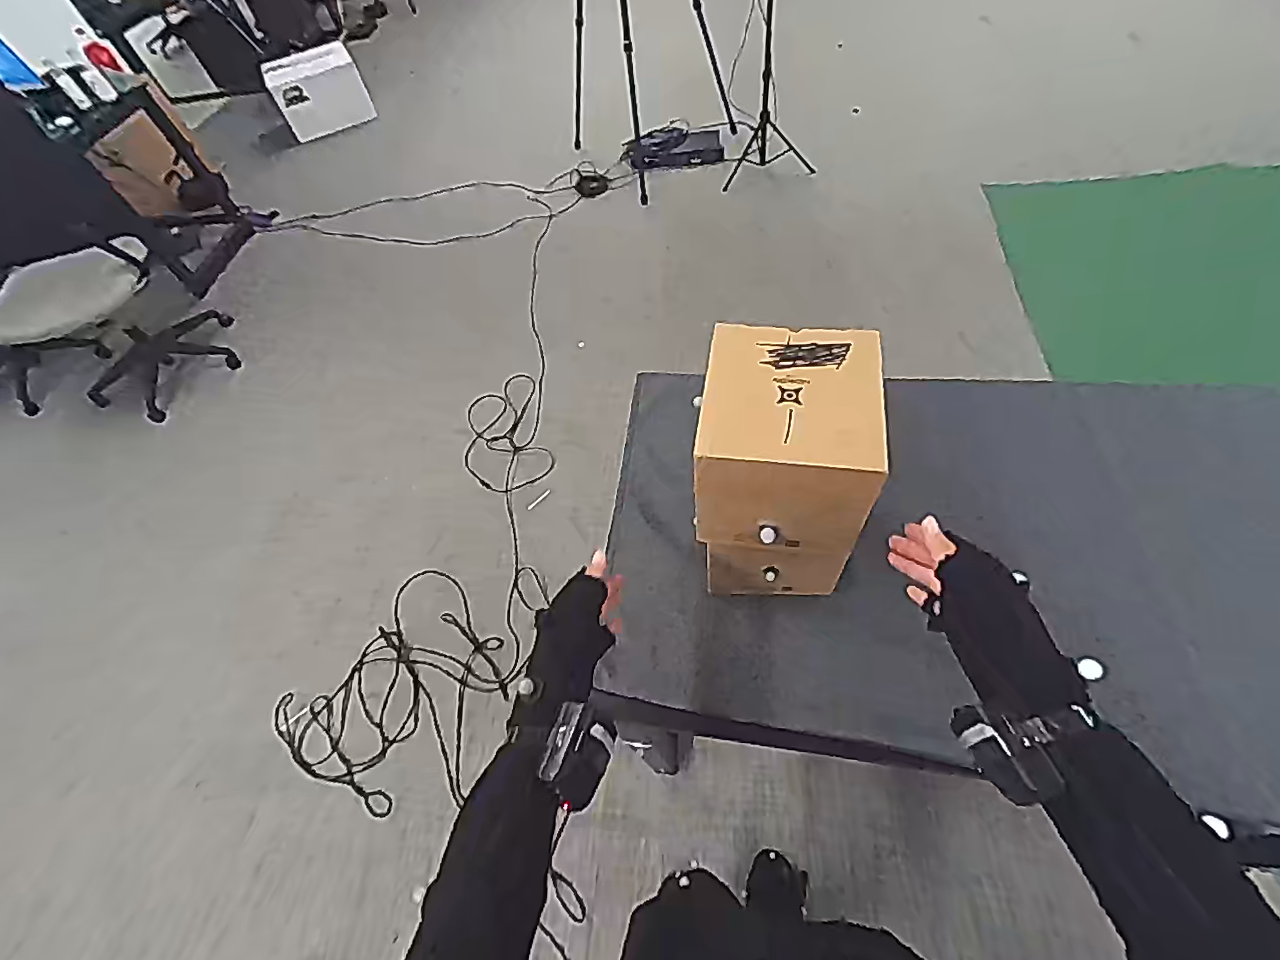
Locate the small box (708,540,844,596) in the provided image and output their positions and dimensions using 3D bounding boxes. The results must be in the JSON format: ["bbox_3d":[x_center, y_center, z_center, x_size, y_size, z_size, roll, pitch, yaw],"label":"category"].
[{"bbox_3d":[0.175,0.045,0.719,0.168,0.176,0.179,-1,55,7],"label":"small box"}]

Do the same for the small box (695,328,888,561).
[{"bbox_3d":[0.153,-0.036,0.576,0.168,0.176,0.179,6,57,12],"label":"small box"}]
